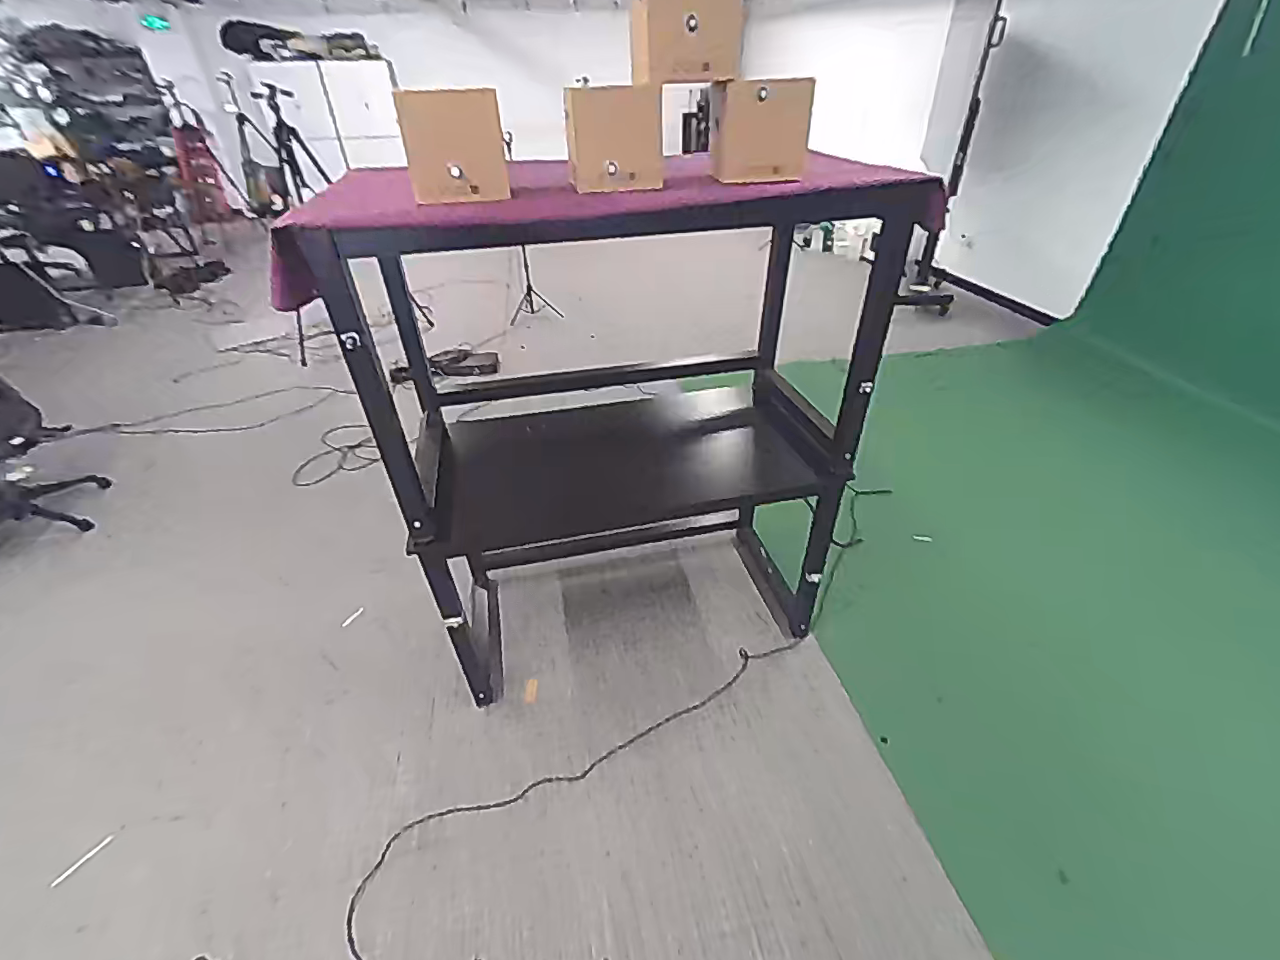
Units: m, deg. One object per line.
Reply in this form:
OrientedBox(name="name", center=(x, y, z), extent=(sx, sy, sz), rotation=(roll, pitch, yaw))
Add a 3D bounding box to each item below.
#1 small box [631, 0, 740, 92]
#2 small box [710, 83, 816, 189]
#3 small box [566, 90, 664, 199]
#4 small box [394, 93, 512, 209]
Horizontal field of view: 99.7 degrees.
OrientedBox(name="small box", center=(0.079, -0.809, 0.979), extent=(0.168, 0.176, 0.179), rotation=(-7, 36, -7))
OrientedBox(name="small box", center=(0.237, -0.693, 1.093), extent=(0.168, 0.176, 0.179), rotation=(-5, 35, -2))
OrientedBox(name="small box", center=(-0.051, -0.652, 1.050), extent=(0.168, 0.176, 0.179), rotation=(-8, 37, -7))
OrientedBox(name="small box", center=(-0.330, -0.599, 0.985), extent=(0.168, 0.176, 0.179), rotation=(-9, 37, -10))
